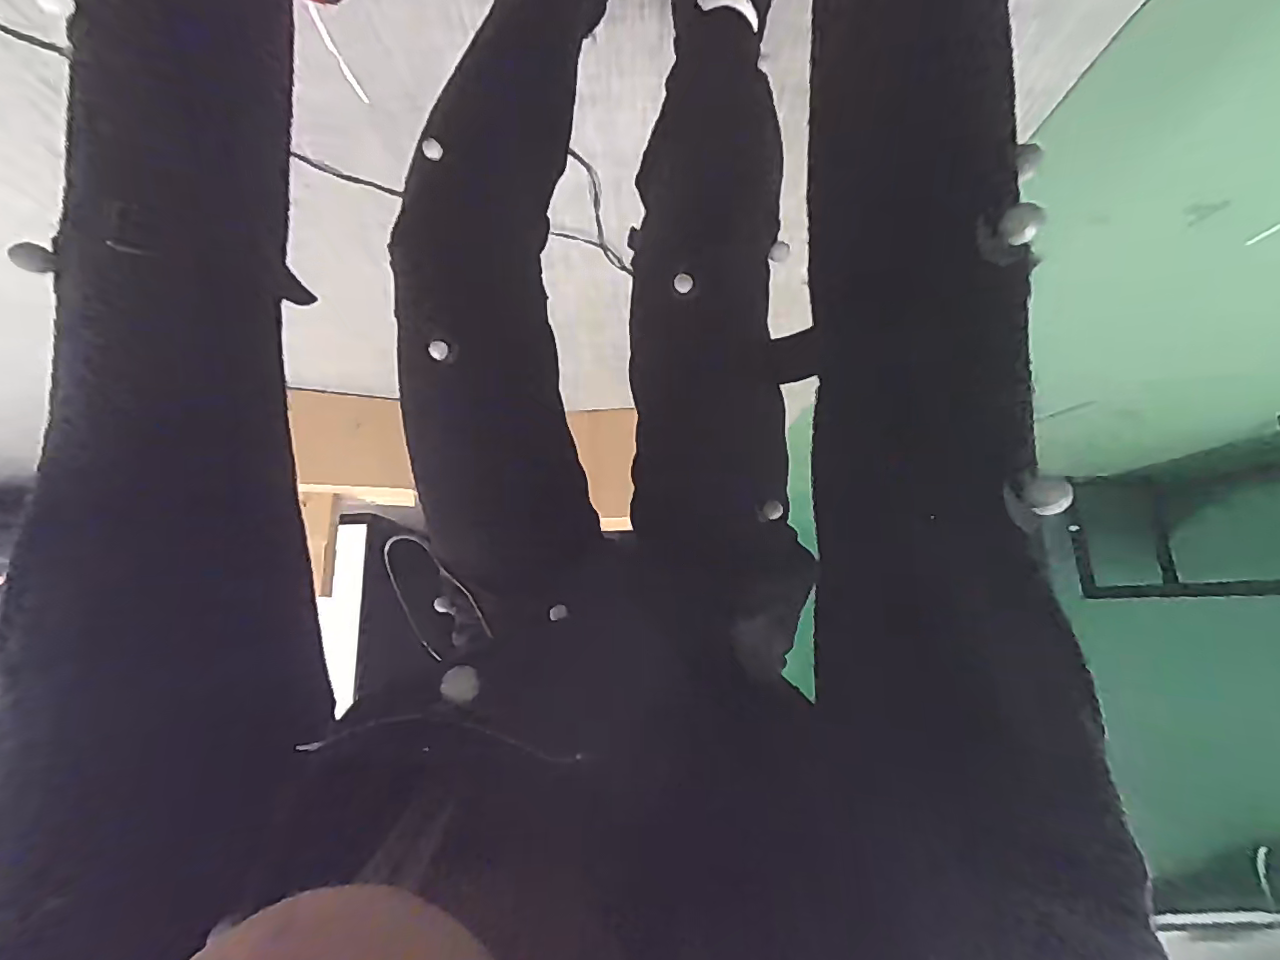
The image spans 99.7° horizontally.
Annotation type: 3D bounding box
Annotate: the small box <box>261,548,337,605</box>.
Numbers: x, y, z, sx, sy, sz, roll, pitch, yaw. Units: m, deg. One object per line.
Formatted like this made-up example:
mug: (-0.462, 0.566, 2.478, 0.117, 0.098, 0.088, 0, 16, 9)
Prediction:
small box: (-1.088, 0.314, 1.738, 0.168, 0.176, 0.179, 3, 165, -18)
